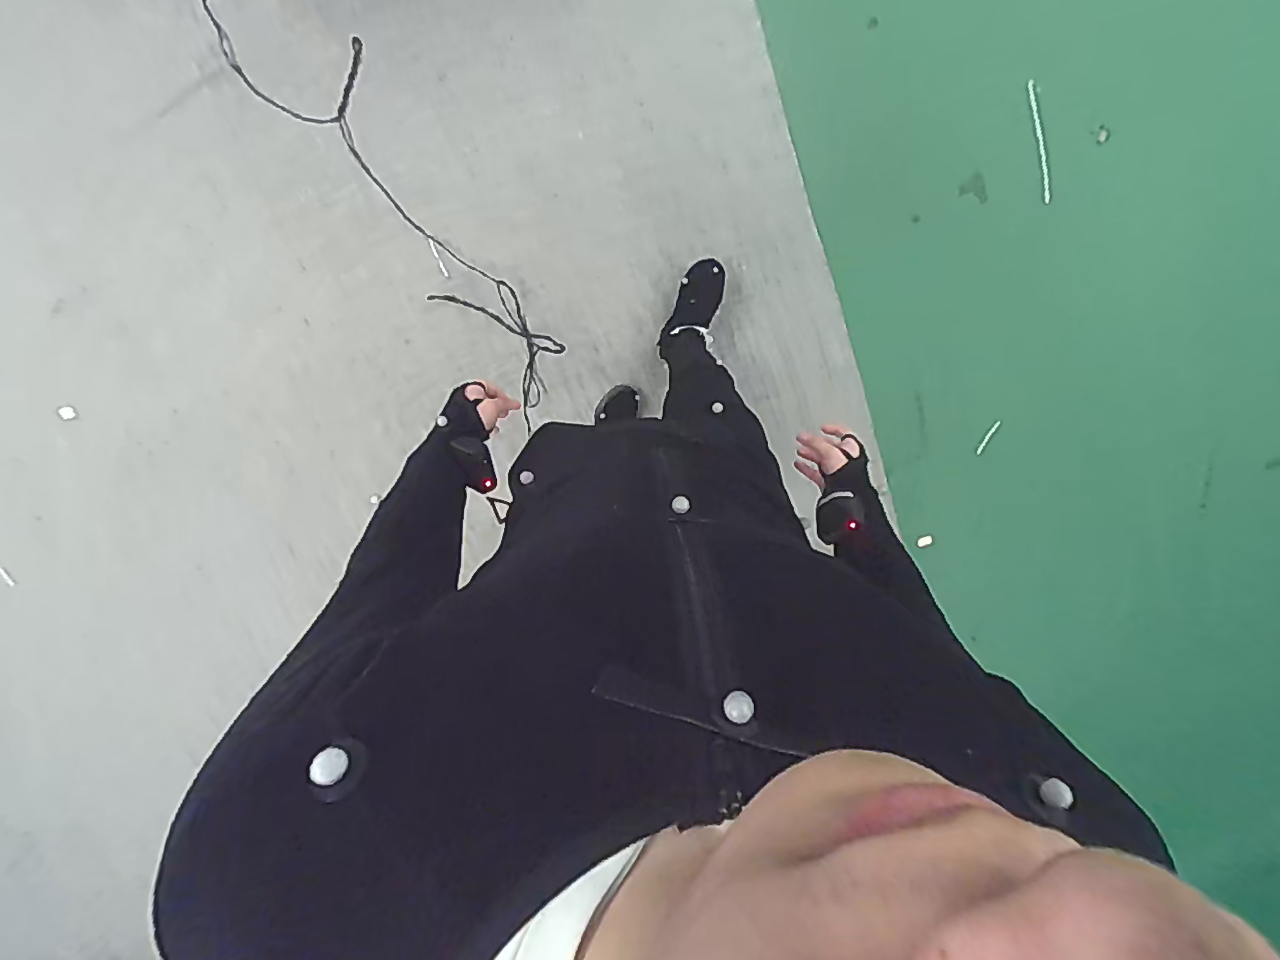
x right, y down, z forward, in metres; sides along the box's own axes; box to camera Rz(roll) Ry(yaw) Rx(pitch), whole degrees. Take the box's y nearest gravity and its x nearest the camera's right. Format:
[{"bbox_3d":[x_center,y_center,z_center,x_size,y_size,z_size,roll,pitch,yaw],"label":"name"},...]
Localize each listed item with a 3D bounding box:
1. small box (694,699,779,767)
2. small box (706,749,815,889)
[{"bbox_3d":[0.238,0.667,1.302,0.168,0.176,0.179,-15,105,-2],"label":"small box"},{"bbox_3d":[0.247,0.700,1.141,0.168,0.176,0.179,-15,104,0],"label":"small box"}]
